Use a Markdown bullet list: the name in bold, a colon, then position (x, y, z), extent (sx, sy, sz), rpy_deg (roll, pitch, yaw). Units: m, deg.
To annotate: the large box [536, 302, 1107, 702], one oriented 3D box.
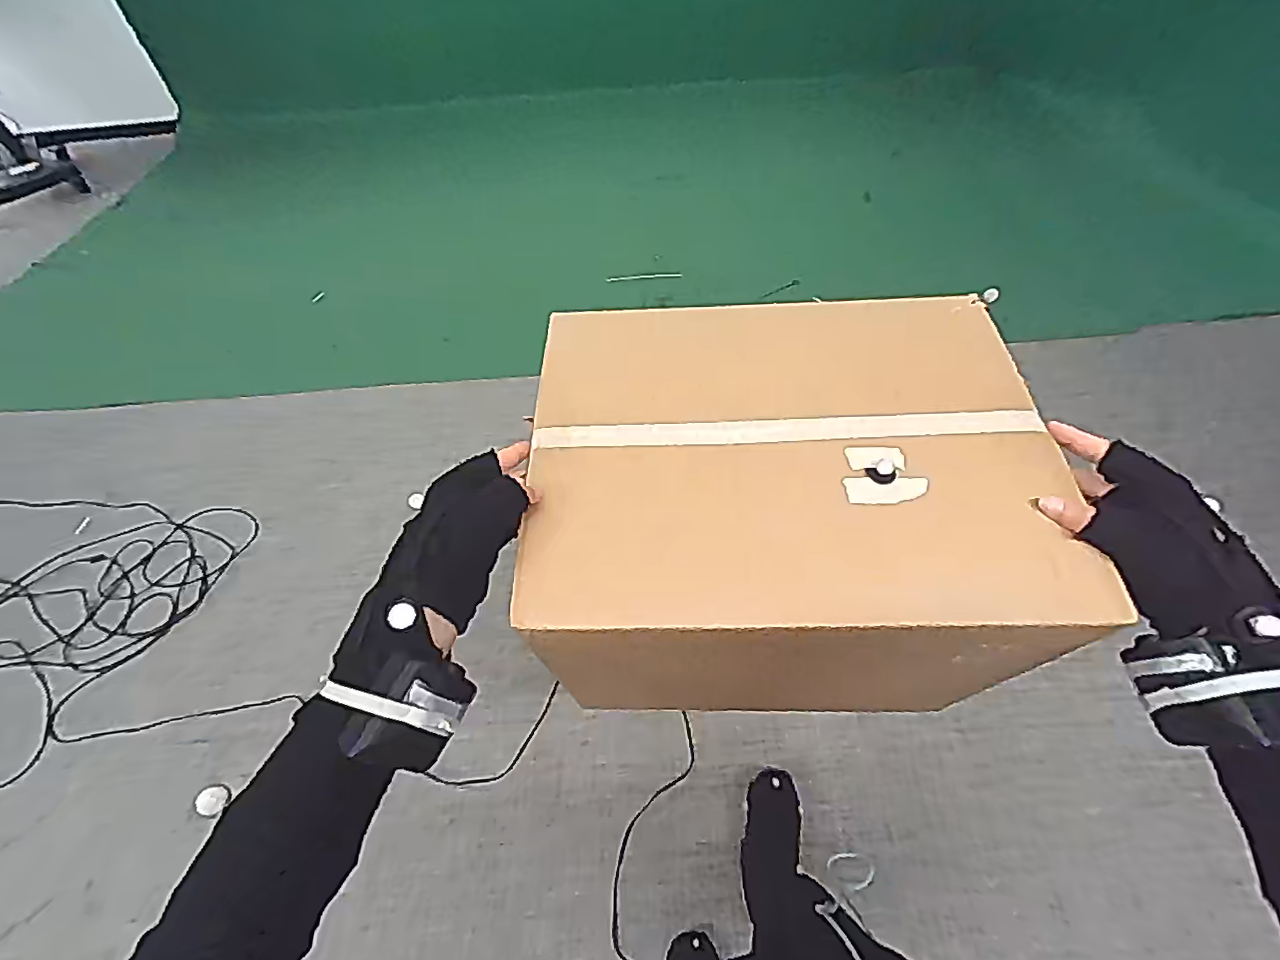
- **large box**: position (0.126, 0.042, 0.577), extent (0.408, 0.320, 0.320), rpy_deg (-2, 58, 2)
